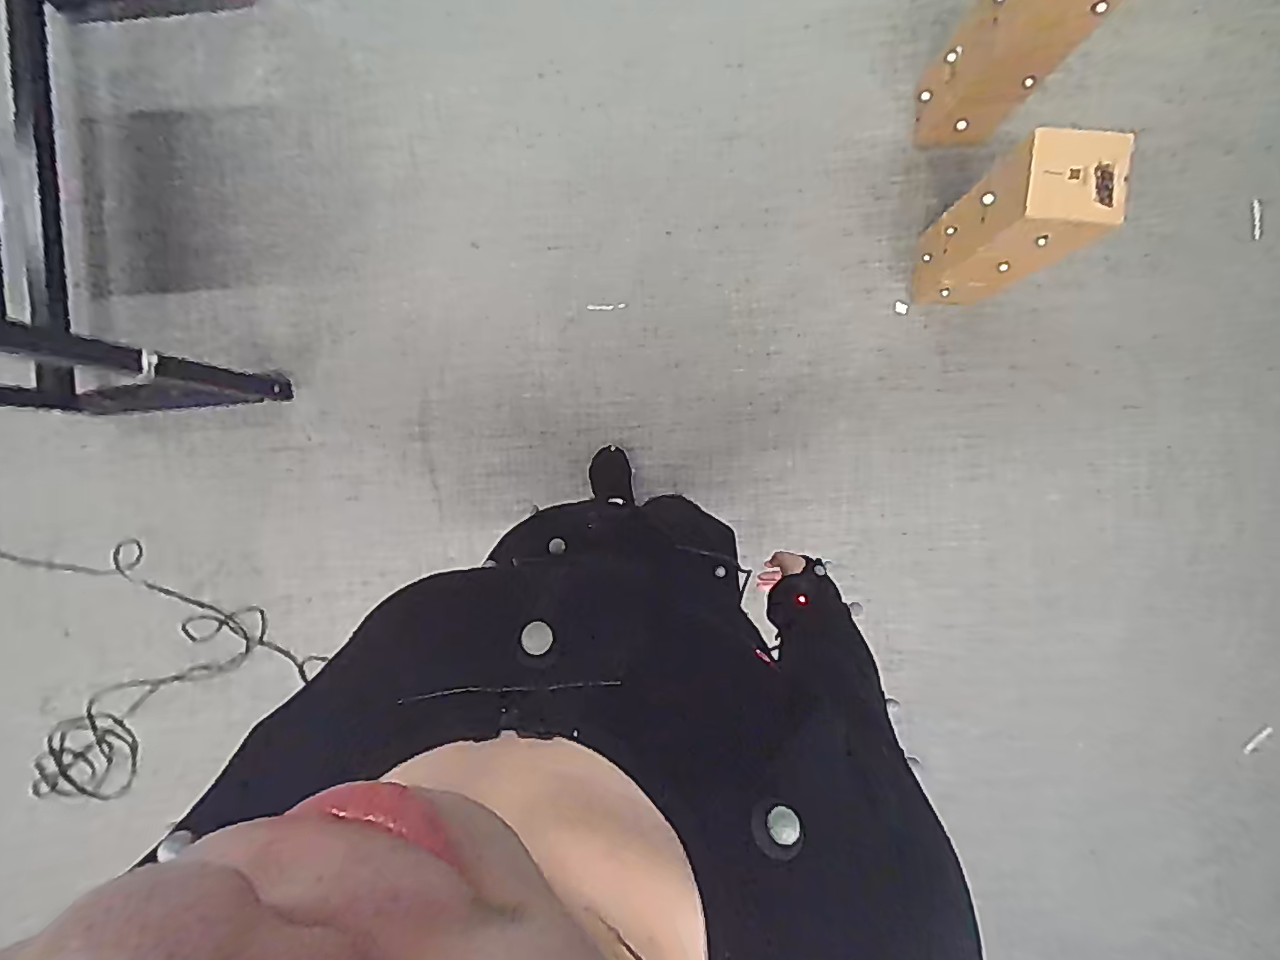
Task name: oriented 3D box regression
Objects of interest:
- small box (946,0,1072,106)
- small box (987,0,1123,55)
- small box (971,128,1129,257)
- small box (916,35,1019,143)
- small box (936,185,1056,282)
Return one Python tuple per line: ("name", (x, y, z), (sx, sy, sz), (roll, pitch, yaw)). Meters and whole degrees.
("small box", (0.822, -0.980, 1.216), (0.179, 0.176, 0.168), (-2, 91, 3))
("small box", (0.814, -0.972, 1.051), (0.179, 0.176, 0.168), (-2, 91, 1))
("small box", (0.797, -0.556, 1.068), (0.179, 0.176, 0.168), (6, 92, 3))
("small box", (0.827, -0.989, 1.378), (0.179, 0.176, 0.168), (1, 92, 2))
("small box", (0.811, -0.561, 1.231), (0.179, 0.176, 0.168), (5, 92, 2))
